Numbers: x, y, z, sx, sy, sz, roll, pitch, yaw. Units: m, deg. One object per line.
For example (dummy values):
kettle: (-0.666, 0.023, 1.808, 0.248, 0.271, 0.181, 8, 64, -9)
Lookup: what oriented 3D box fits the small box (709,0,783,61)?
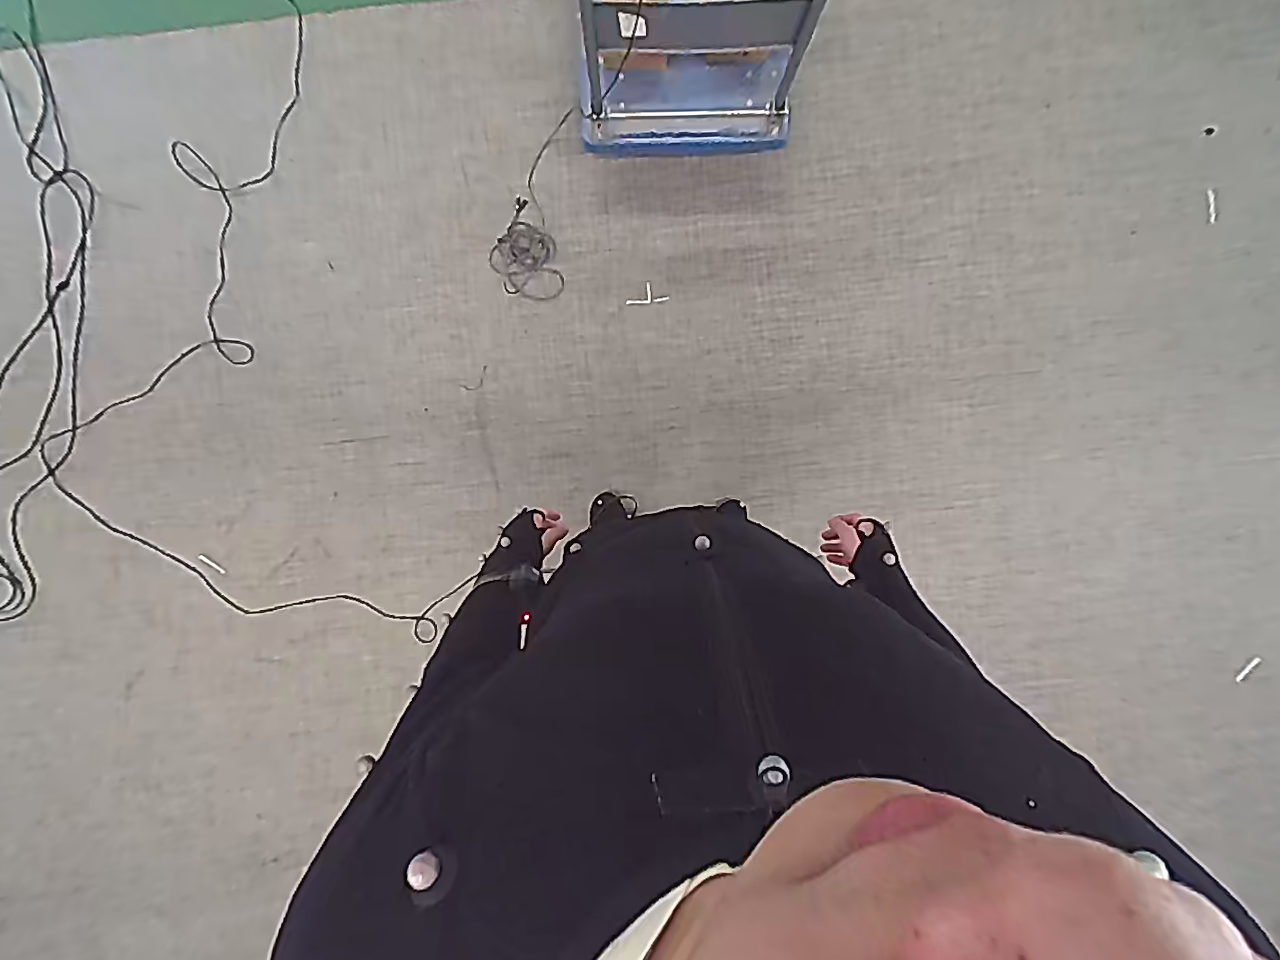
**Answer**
small box: (0.270, -1.238, 1.399, 0.168, 0.176, 0.179, 0, 90, 1)
